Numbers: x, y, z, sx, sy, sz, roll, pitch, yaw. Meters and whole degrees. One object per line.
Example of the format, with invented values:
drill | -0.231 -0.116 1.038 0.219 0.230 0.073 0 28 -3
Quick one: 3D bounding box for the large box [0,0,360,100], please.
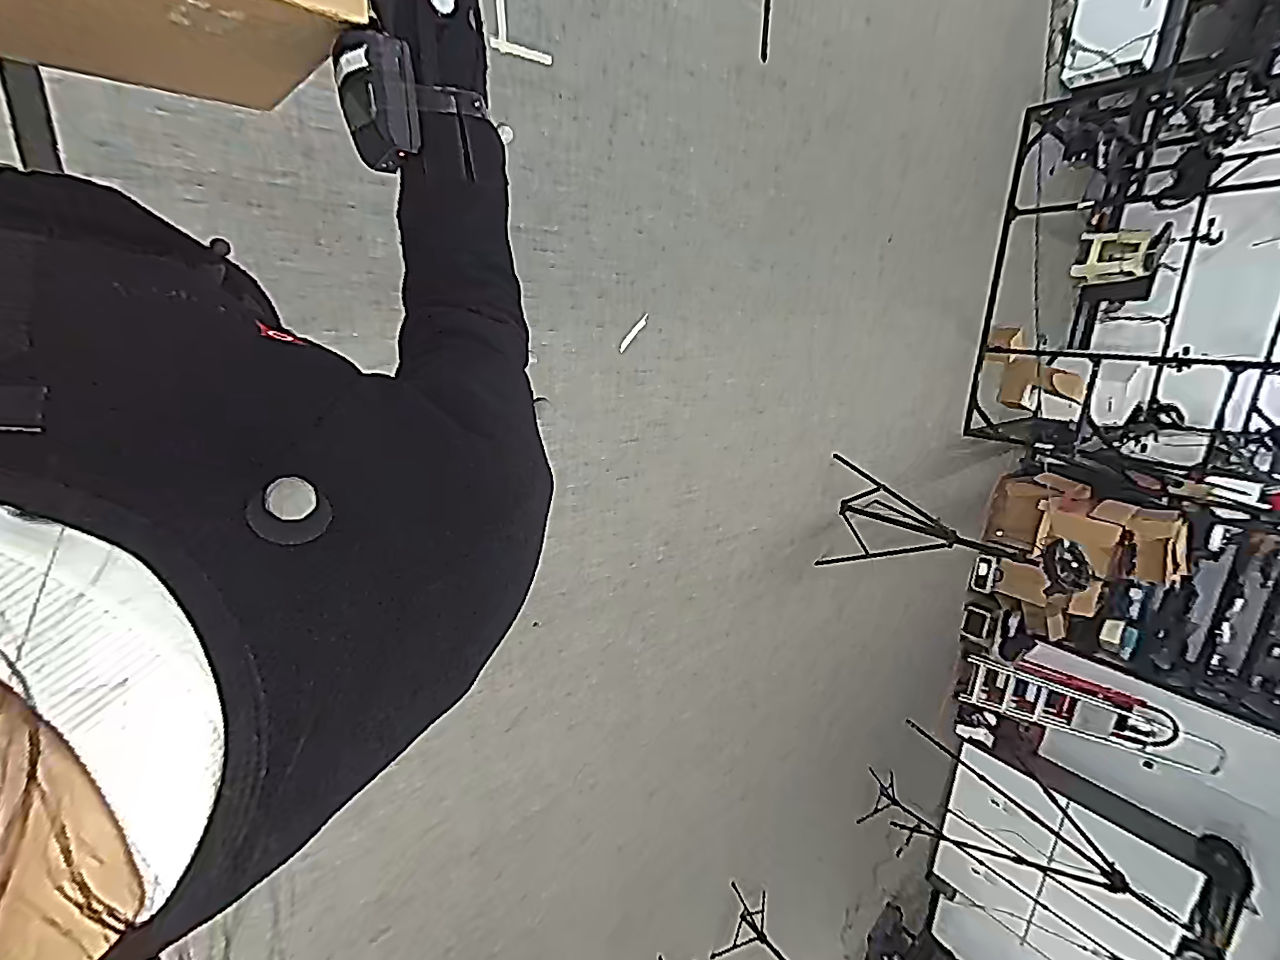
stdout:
large box | -0.405 -0.417 0.242 0.408 0.320 0.320 -15 119 -39
